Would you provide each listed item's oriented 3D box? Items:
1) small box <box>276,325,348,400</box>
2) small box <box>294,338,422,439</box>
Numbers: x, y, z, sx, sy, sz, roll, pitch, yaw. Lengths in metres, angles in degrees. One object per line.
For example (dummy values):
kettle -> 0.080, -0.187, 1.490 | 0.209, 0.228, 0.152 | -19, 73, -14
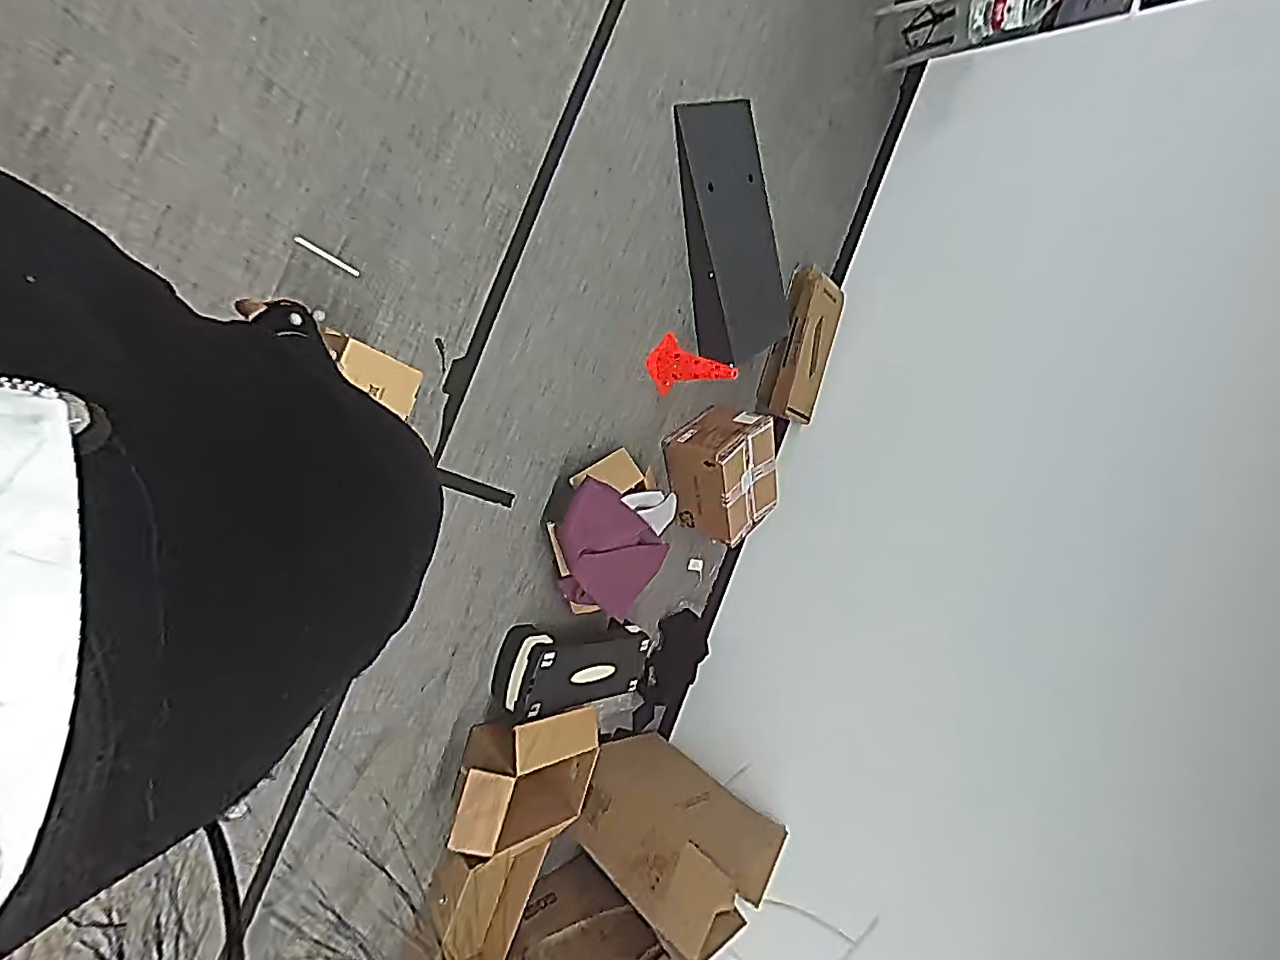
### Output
small box -> -0.748, -0.256, 1.309 | 0.168, 0.176, 0.179 | 27, 83, -50
small box -> -0.630, -0.208, 1.208 | 0.179, 0.176, 0.168 | 25, 84, -49
